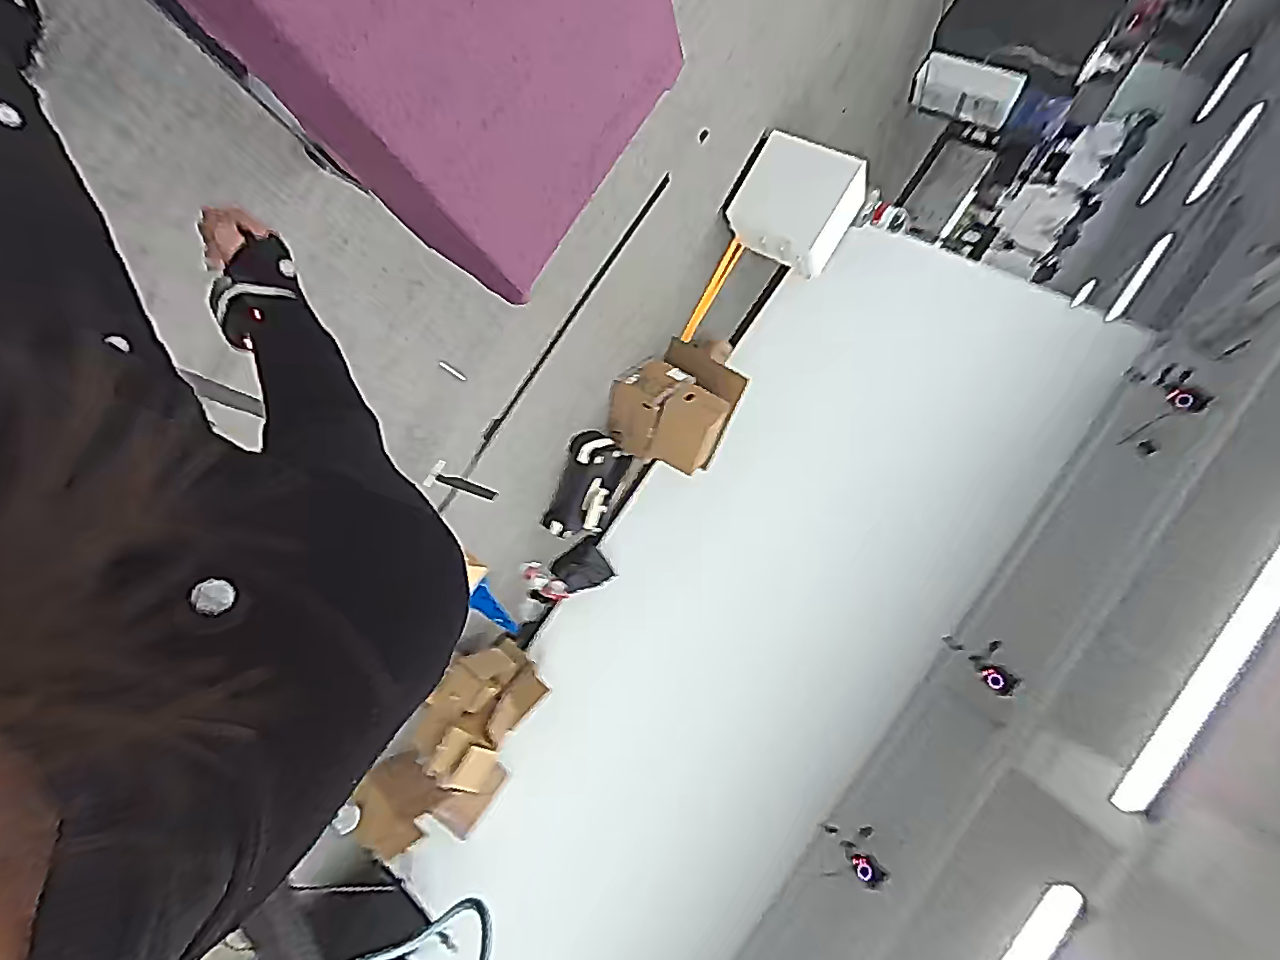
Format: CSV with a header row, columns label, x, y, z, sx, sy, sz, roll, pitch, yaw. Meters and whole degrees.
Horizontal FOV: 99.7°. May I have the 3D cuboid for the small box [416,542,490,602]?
label,x,y,z,sx,sy,sz,roll,pitch,yaw
small box,-0.730,0.358,2.113,0.168,0.176,0.179,-55,160,-1
